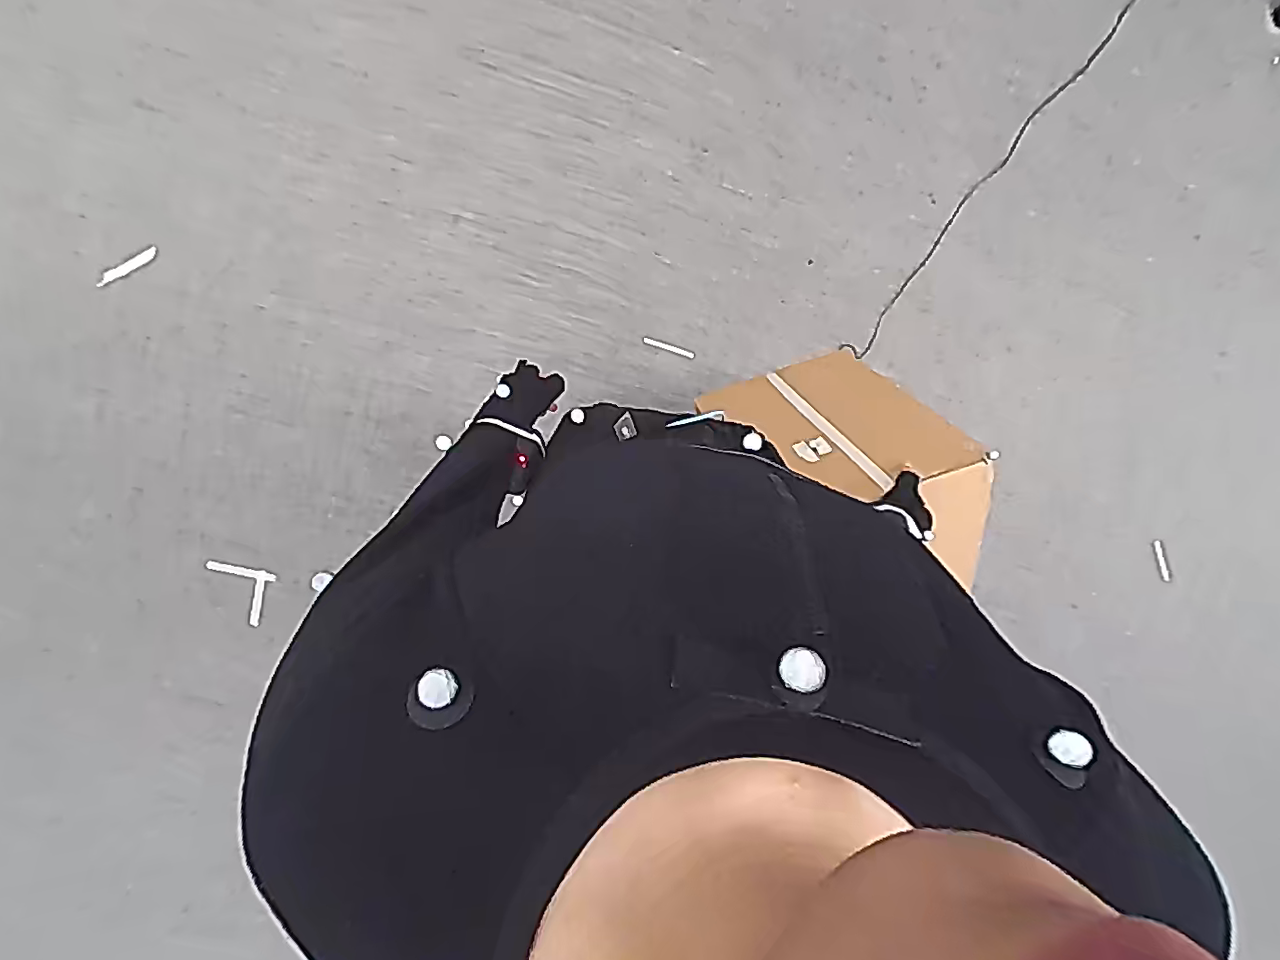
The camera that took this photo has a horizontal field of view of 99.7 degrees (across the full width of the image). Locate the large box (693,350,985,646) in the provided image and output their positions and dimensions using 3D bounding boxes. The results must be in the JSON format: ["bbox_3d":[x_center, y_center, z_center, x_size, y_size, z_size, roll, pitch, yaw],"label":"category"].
[{"bbox_3d":[0.325,0.016,0.992,0.320,0.408,0.320,-19,128,-2],"label":"large box"}]
